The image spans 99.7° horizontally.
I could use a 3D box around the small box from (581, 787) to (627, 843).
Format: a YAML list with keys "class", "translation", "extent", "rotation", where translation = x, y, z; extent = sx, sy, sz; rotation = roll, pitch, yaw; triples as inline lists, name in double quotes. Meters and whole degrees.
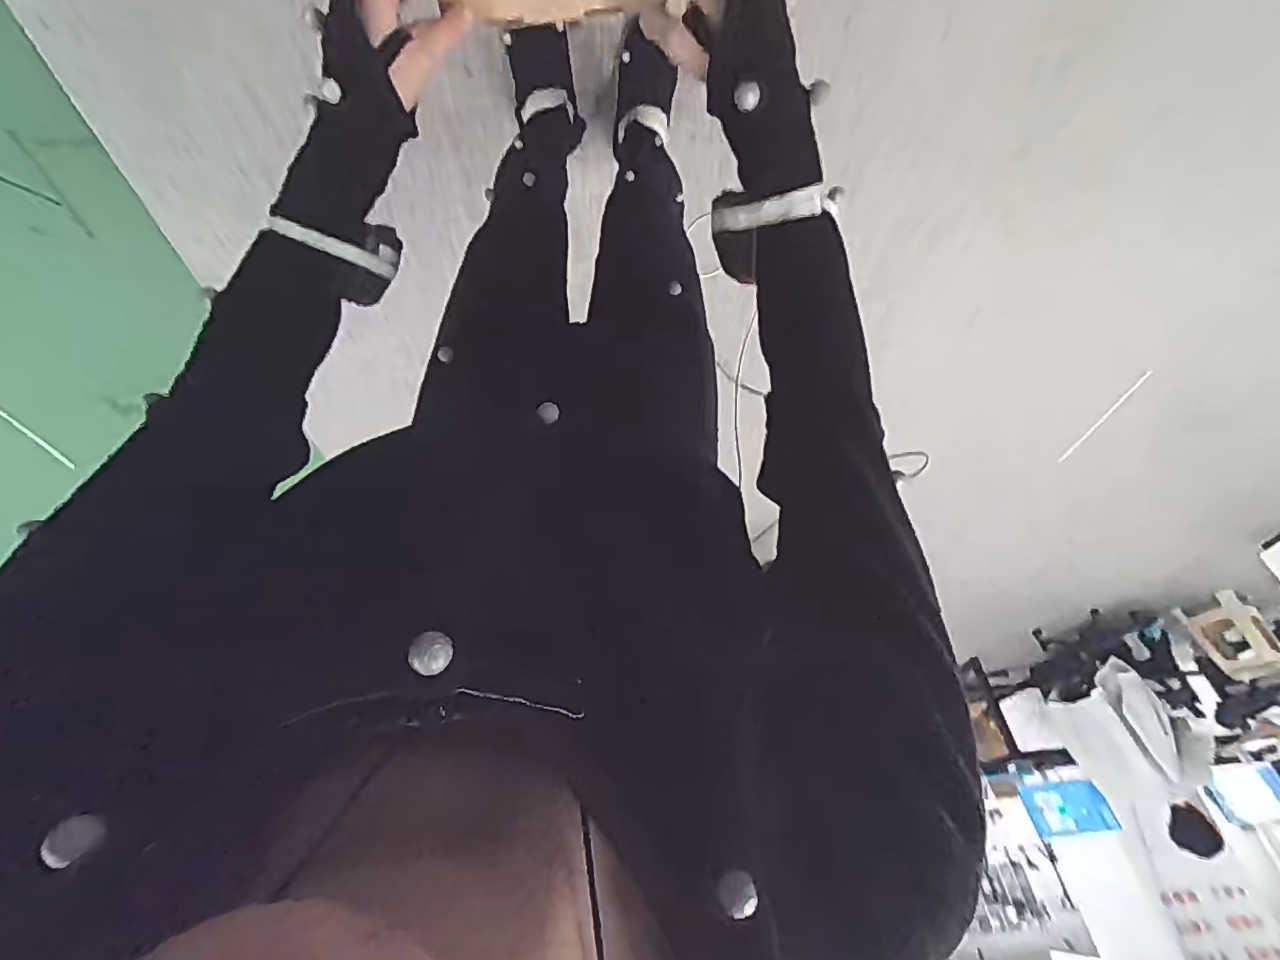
- class: "small box"
  translation: [-0.142, 1.326, 2.142]
  extent: [0.179, 0.176, 0.168]
  rotation: [-3, 143, -3]

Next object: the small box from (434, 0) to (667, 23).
- class: "small box"
  translation: [-0.065, -0.452, 0.390]
  extent: [0.168, 0.176, 0.179]
  rotation: [0, 130, 6]
